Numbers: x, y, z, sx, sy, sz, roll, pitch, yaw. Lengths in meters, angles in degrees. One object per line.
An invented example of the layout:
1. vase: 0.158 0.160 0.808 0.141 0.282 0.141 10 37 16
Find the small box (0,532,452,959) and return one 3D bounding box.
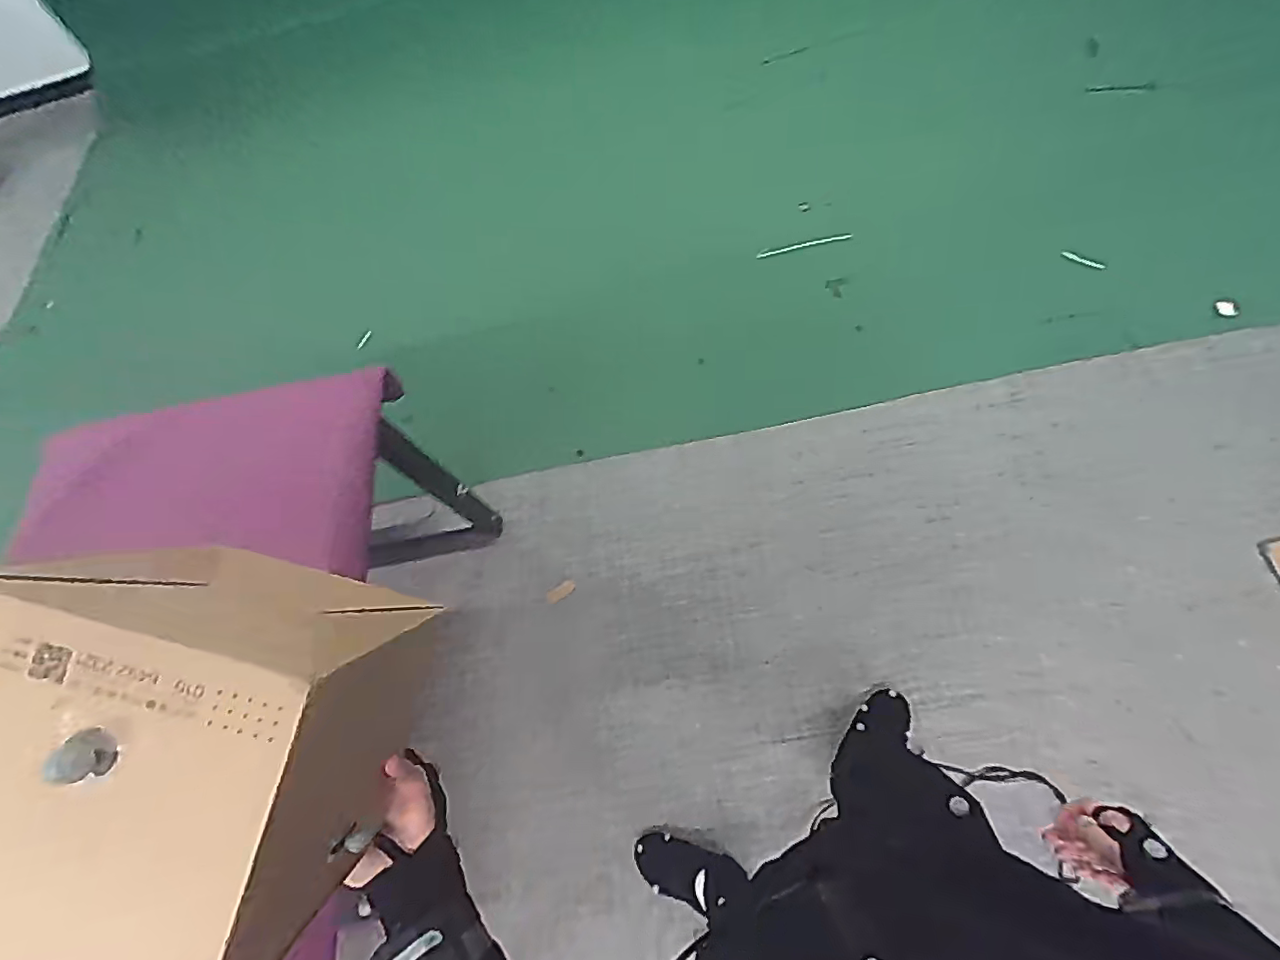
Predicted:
1. small box: -0.229 0.131 0.305 0.168 0.179 0.176 17 86 1
